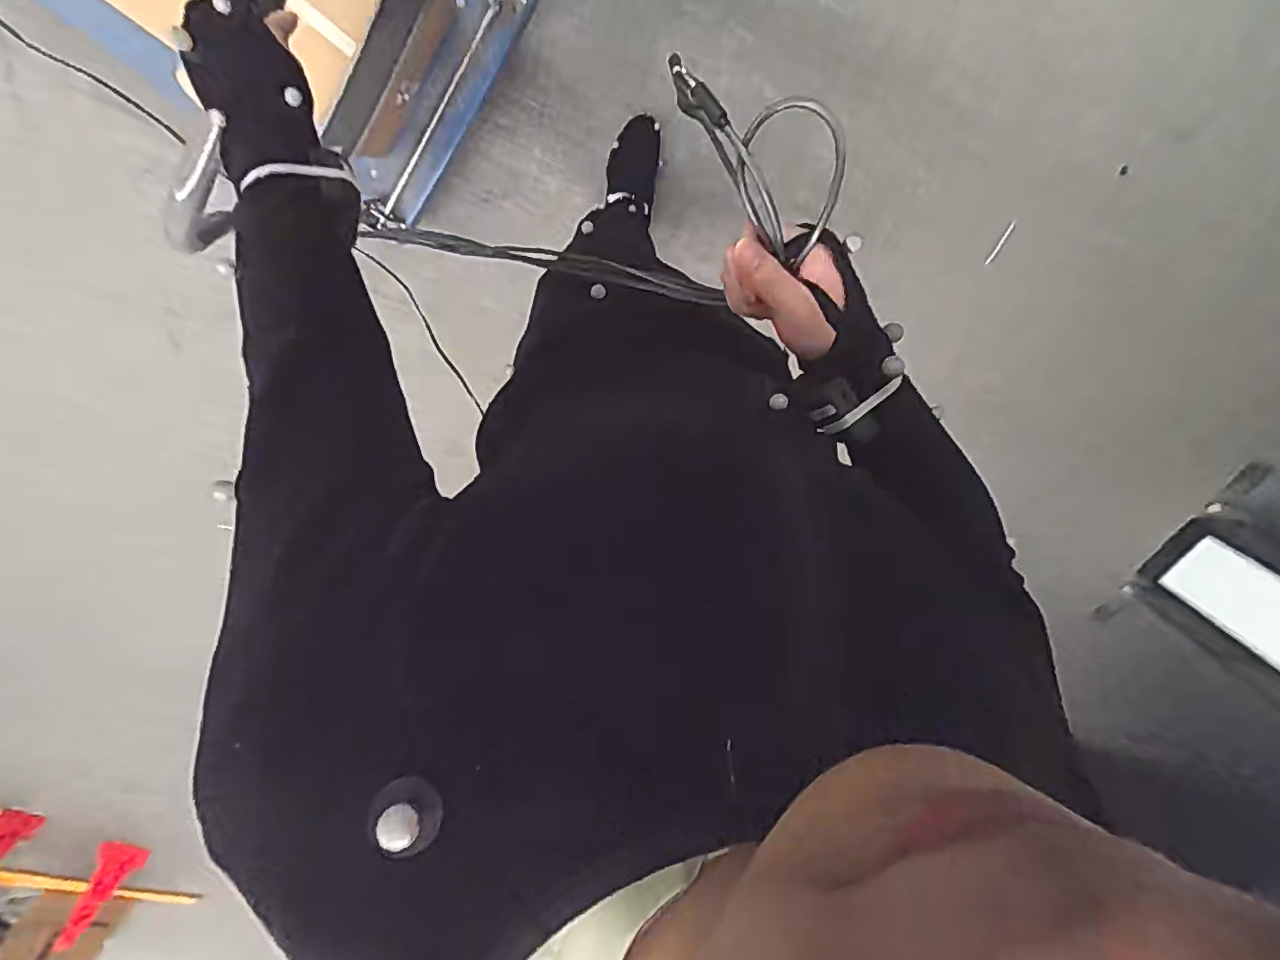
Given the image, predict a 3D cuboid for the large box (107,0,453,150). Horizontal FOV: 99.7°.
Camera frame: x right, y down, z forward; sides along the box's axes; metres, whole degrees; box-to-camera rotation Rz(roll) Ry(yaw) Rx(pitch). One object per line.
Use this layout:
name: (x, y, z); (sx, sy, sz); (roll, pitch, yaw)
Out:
large box: (-0.572, -0.793, 0.844); (0.408, 0.320, 0.320); (33, 112, -21)
